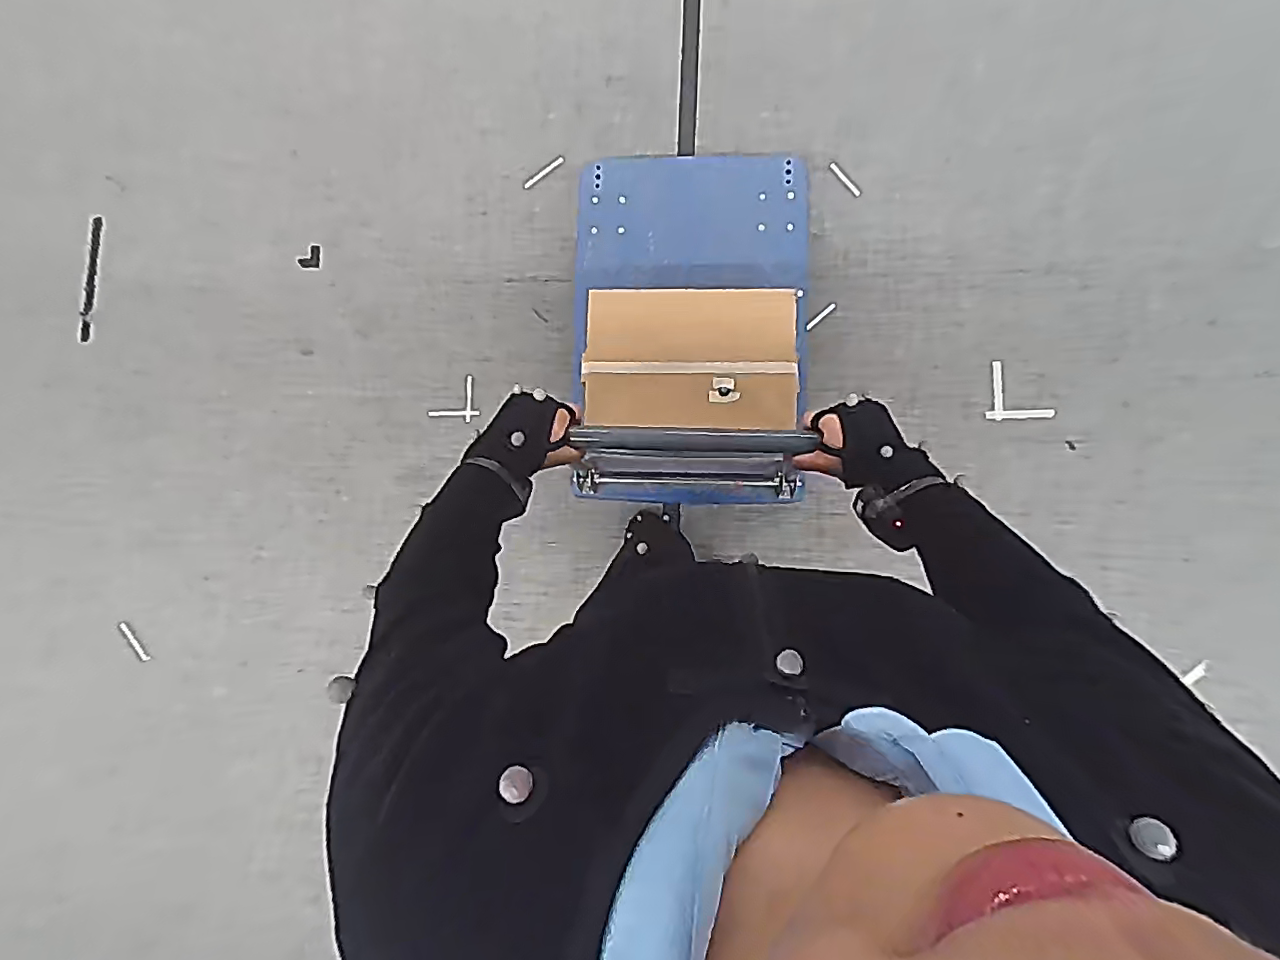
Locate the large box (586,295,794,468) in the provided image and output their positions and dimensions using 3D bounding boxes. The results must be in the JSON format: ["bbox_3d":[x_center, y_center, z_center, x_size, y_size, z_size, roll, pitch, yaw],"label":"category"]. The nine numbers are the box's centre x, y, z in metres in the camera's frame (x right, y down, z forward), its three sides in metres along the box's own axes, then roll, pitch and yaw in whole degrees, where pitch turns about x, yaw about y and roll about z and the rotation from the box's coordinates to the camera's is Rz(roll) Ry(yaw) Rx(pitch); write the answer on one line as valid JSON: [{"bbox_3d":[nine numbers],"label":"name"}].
[{"bbox_3d":[0.102,-0.193,1.185,0.408,0.320,0.320,1,87,4],"label":"large box"}]
